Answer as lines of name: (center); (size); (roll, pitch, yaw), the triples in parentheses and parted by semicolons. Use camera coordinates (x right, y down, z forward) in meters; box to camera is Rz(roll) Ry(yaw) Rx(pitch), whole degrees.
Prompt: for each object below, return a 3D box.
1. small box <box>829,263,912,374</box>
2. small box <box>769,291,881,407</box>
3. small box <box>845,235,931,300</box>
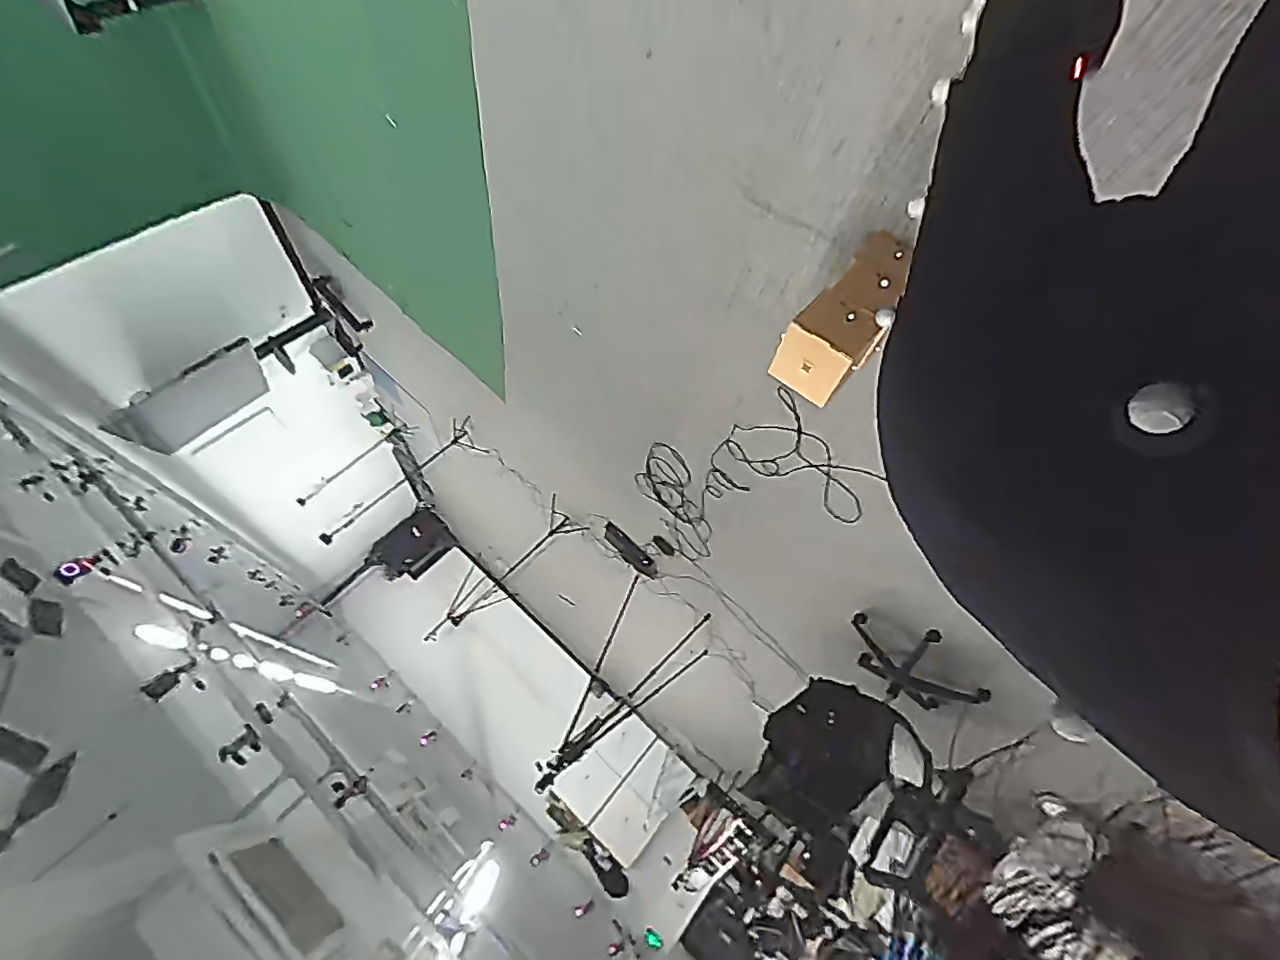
small box: (0.556, -0.413, 1.379); (0.168, 0.176, 0.179); (39, 153, 15)
small box: (0.446, -0.317, 1.306); (0.168, 0.176, 0.179); (38, 152, 16)
small box: (0.649, -0.524, 1.458); (0.168, 0.176, 0.179); (38, 154, 18)
